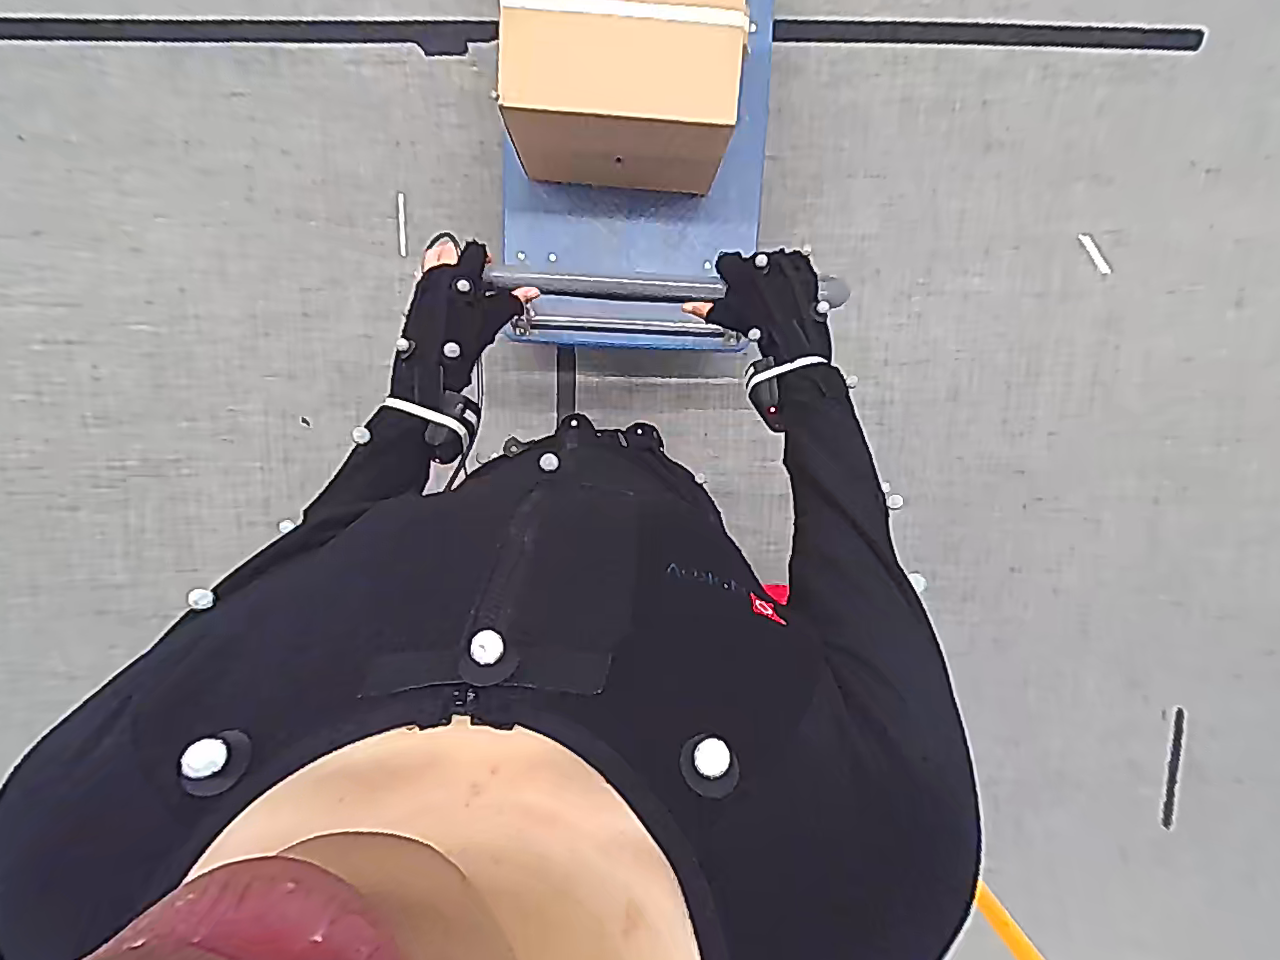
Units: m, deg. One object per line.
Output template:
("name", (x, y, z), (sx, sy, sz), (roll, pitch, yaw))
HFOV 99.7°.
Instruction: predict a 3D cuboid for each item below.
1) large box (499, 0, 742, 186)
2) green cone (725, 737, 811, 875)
("large box", (-0.032, -0.790, 1.037), (0.408, 0.320, 0.320), (3, 98, -2))
("green cone", (0.363, 0.878, 1.428), (0.202, 0.368, 0.200), (4, 98, -3))
